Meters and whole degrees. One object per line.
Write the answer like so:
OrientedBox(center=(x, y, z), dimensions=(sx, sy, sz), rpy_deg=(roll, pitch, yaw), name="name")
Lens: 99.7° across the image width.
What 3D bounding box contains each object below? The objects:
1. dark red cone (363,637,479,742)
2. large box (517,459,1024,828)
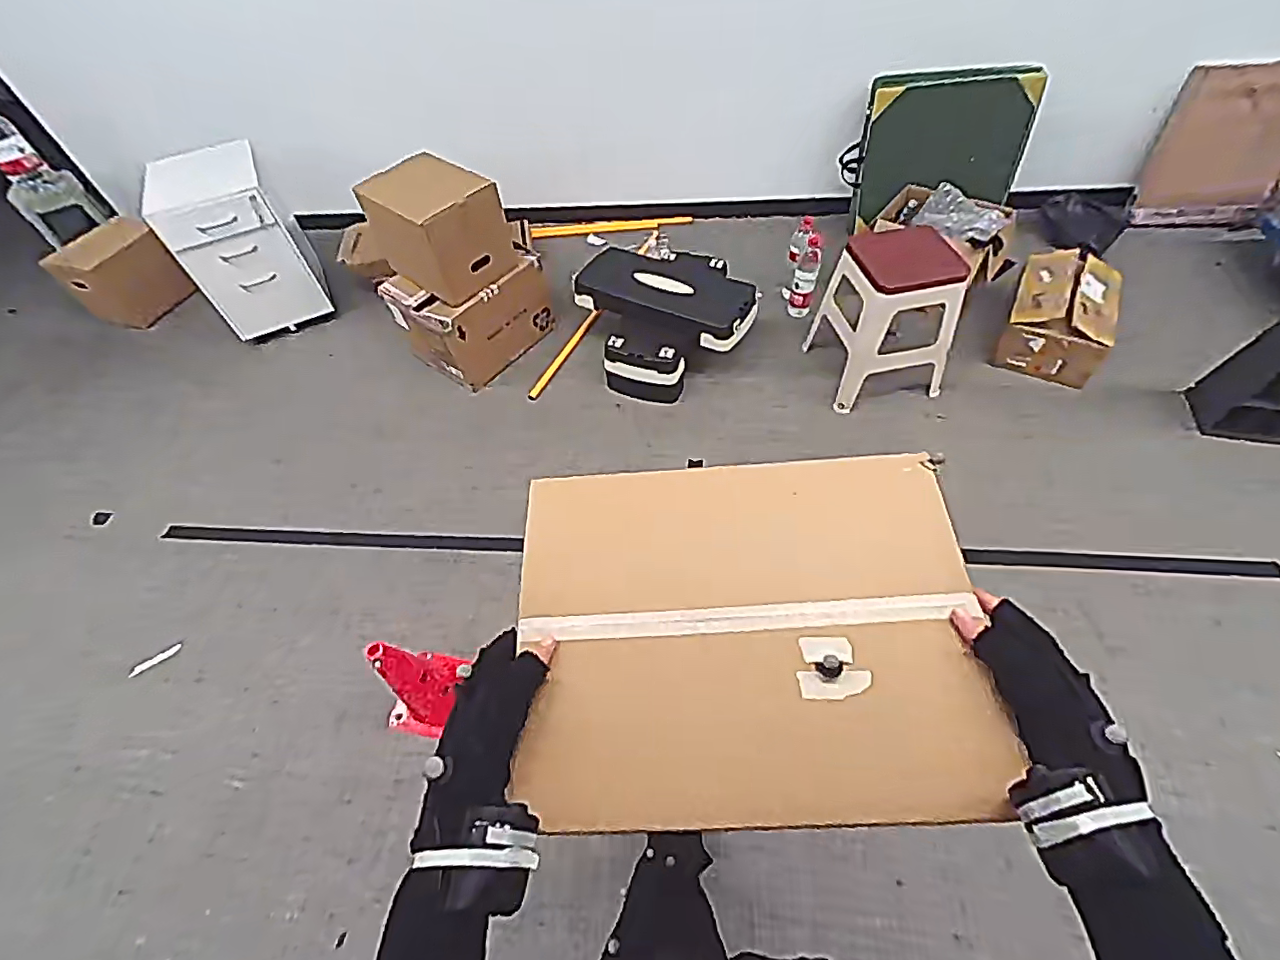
OrientedBox(center=(-0.543, 0.460, 1.267), dimensions=(0.201, 0.394, 0.202), rpy_deg=(7, 55, 9), name="dark red cone")
OrientedBox(center=(0.102, 0.199, 0.622), dimensions=(0.408, 0.320, 0.320), rpy_deg=(-4, 61, 3), name="large box")
